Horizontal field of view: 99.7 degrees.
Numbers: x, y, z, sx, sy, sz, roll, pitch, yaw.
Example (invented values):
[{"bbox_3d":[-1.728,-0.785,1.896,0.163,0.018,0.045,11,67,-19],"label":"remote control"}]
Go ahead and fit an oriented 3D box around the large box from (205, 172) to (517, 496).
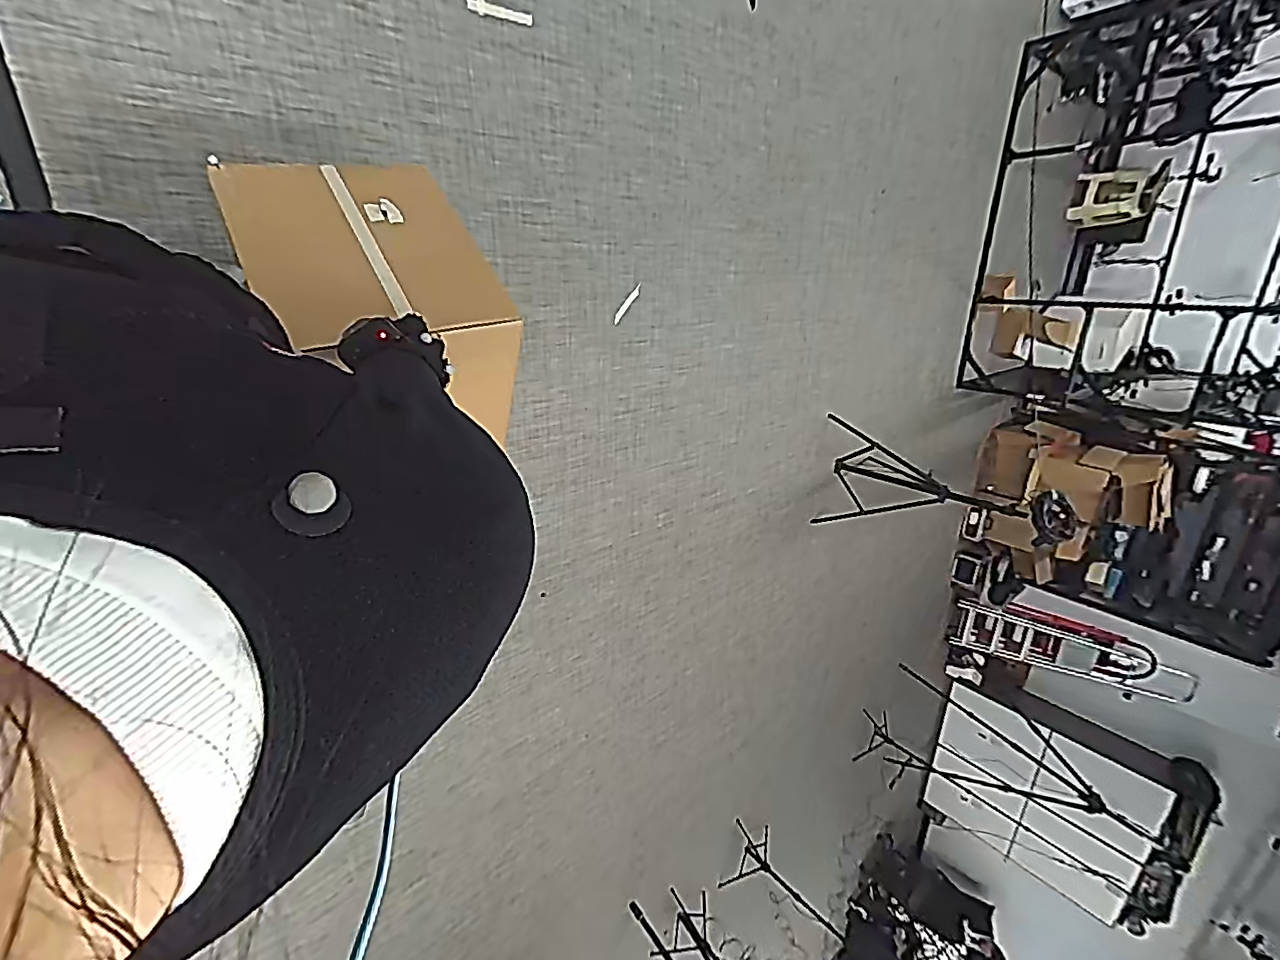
[{"bbox_3d":[-0.445,-0.249,0.902,0.320,0.408,0.320,-20,153,-32],"label":"large box"}]
